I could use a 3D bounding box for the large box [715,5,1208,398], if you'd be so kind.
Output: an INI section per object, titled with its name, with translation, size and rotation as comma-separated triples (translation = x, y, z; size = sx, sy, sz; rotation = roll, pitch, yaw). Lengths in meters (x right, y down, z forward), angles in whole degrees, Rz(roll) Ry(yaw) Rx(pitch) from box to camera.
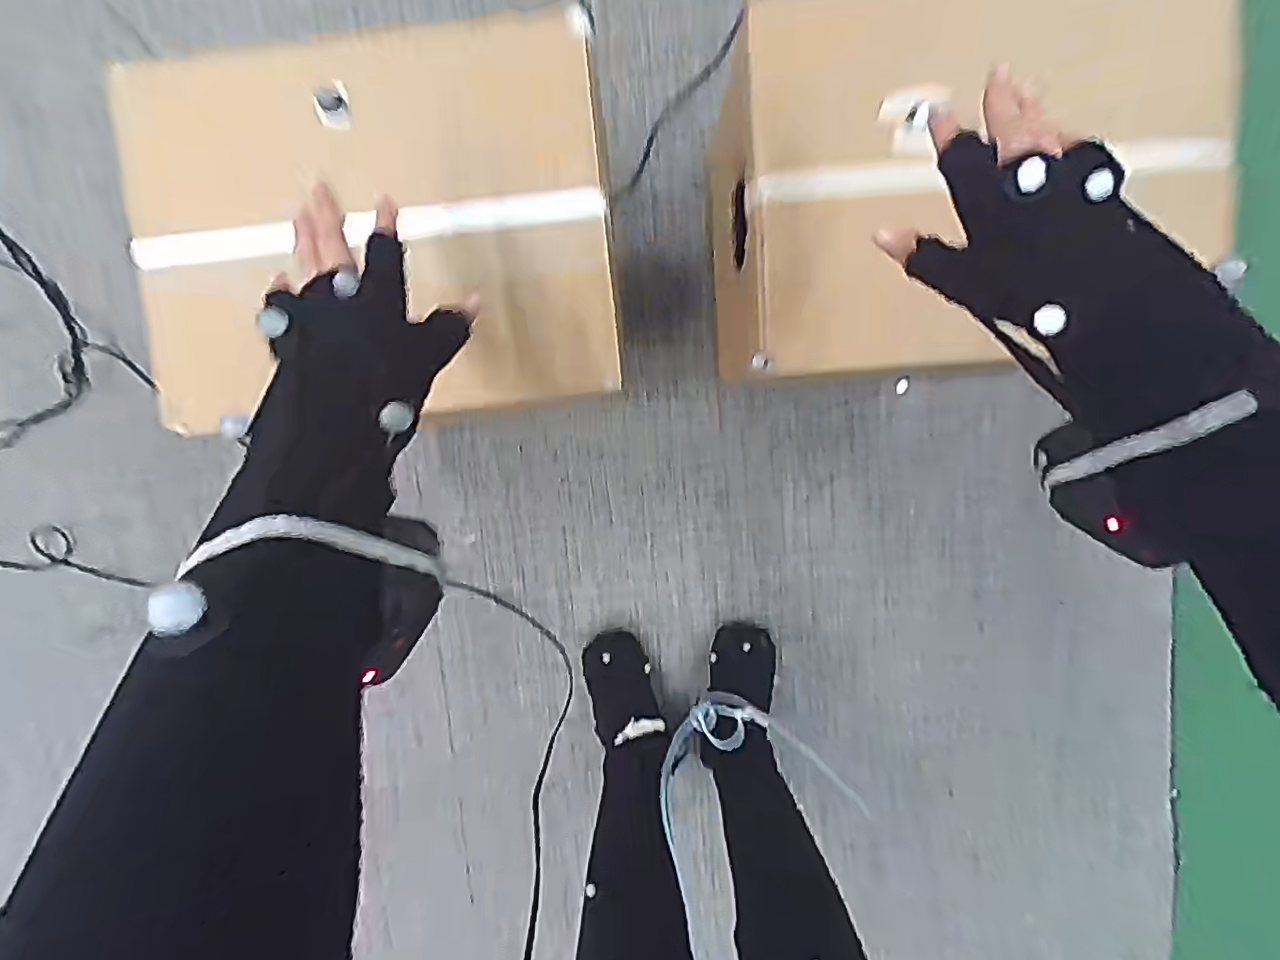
[large box]
translation = 0.312, -0.269, 0.642
size = 0.408, 0.320, 0.320
rotation = -3, 95, 1
